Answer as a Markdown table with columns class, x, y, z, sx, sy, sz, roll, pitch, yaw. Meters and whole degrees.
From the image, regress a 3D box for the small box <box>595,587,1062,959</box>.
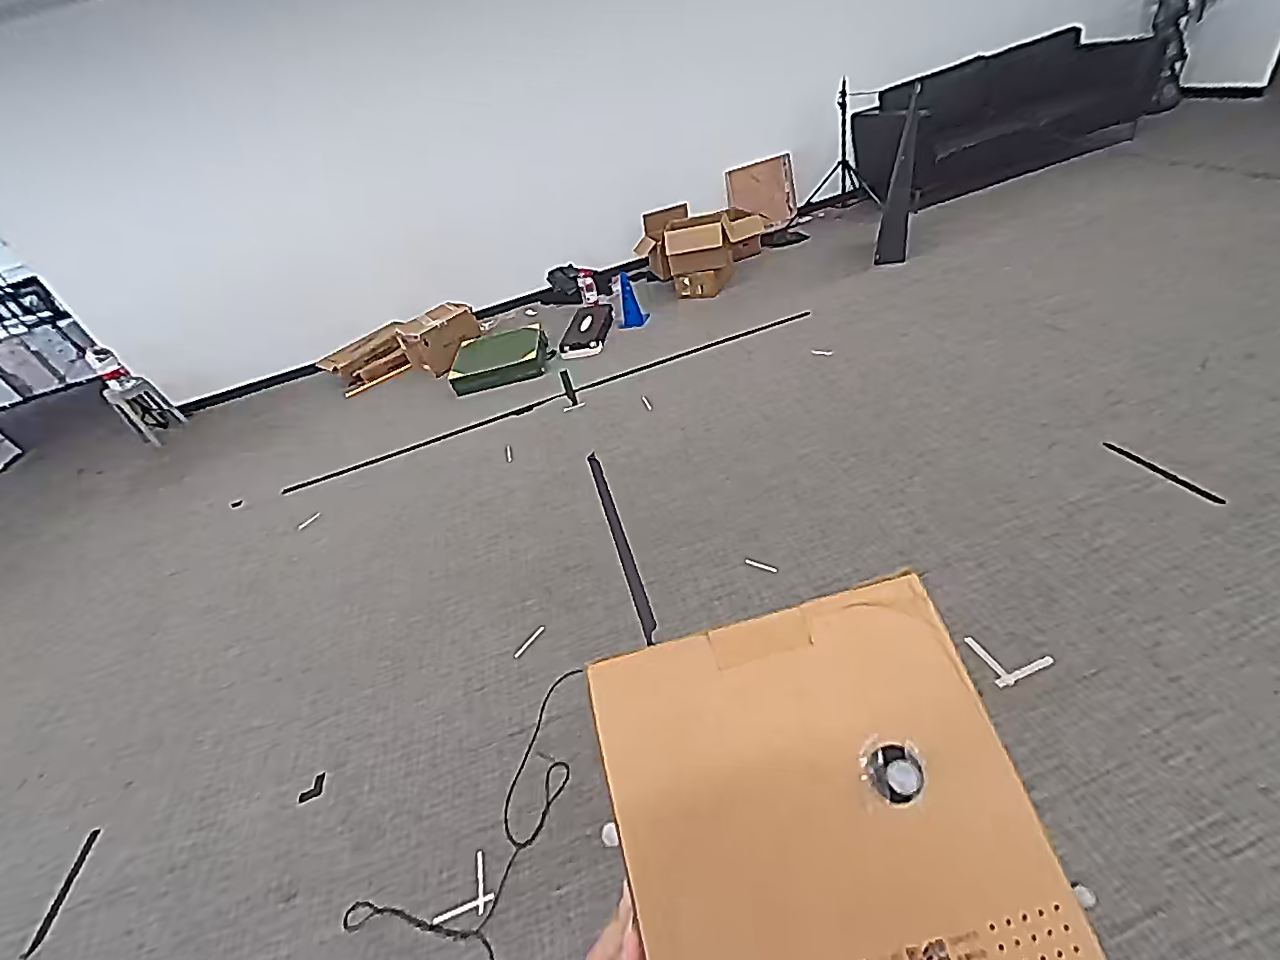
| class | x | y | z | sx | sy | sz | roll | pitch | yaw |
| --- | --- | --- | --- | --- | --- | --- | --- | --- | --- |
| small box | 0.085 | 0.180 | 0.316 | 0.168 | 0.179 | 0.176 | -16 | 67 | 0 |
